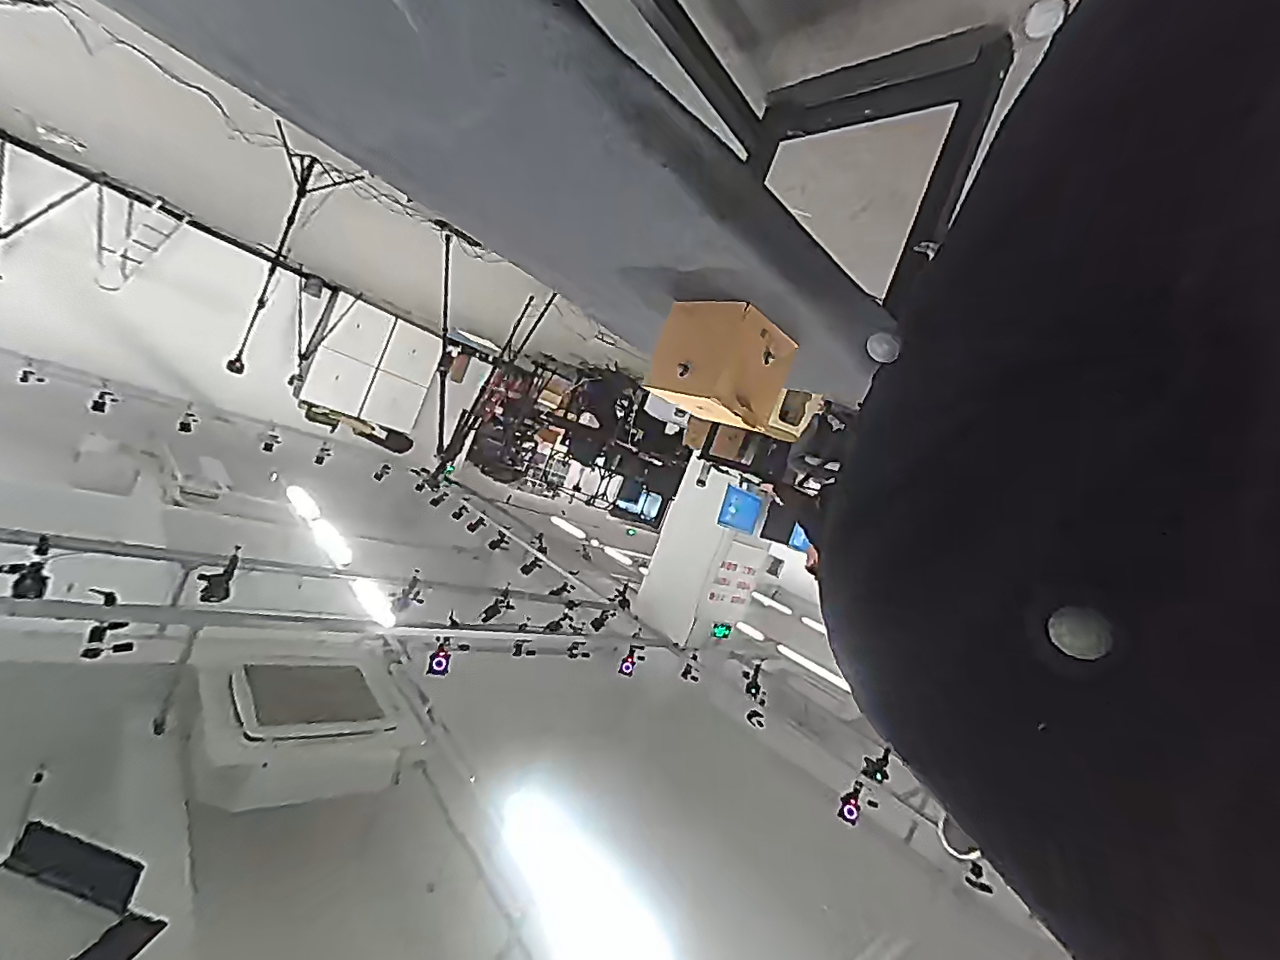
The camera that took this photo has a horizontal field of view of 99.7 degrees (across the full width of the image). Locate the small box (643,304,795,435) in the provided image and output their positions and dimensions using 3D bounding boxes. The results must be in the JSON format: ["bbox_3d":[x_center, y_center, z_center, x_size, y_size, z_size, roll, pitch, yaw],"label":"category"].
[{"bbox_3d":[0.141,-0.198,0.957,0.168,0.176,0.179,21,180,-42],"label":"small box"}]
